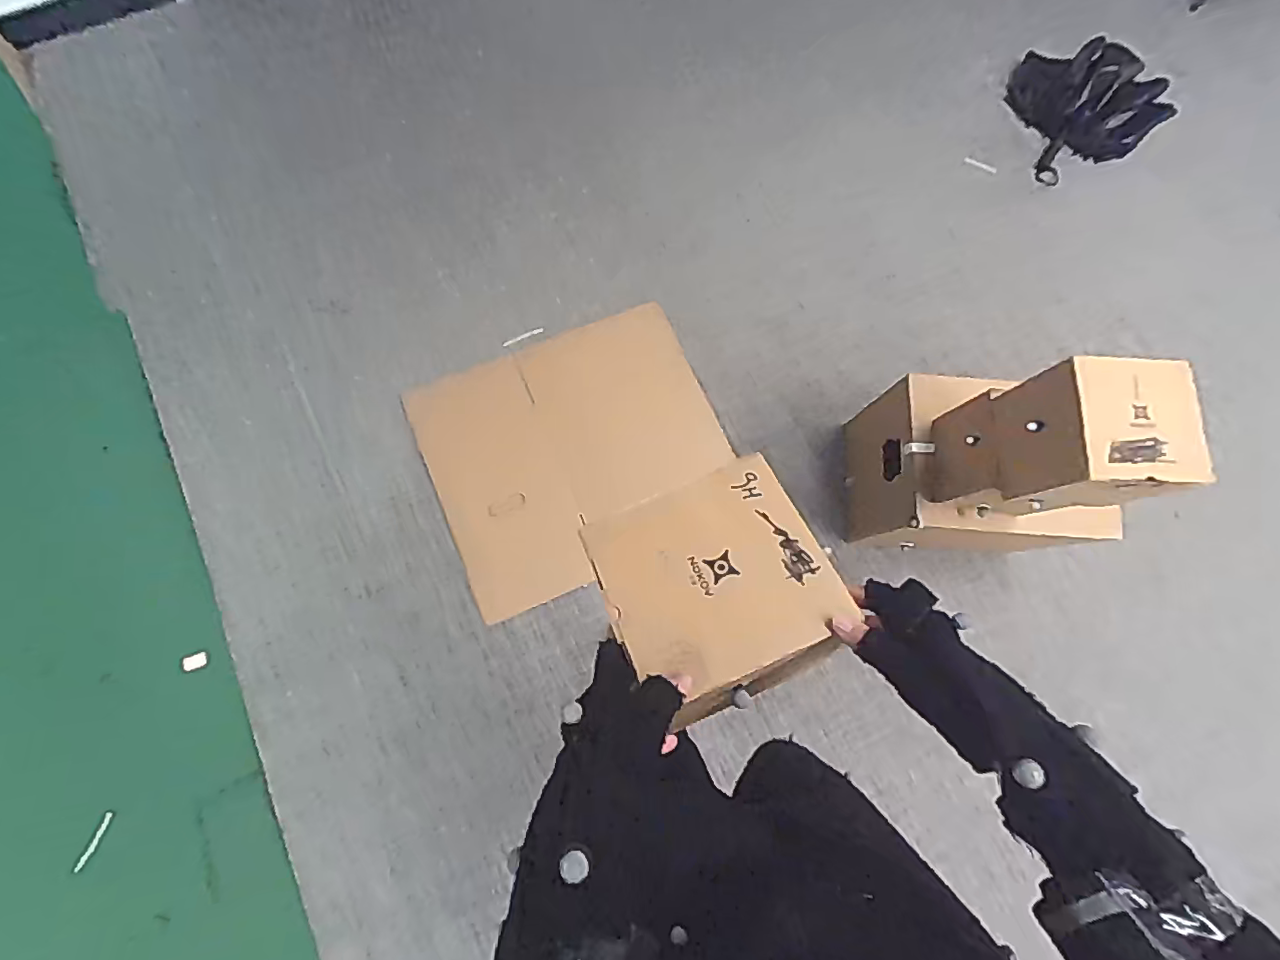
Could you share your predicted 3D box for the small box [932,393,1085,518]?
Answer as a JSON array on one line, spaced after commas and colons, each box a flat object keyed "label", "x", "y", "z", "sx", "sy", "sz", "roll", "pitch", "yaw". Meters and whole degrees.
[{"label": "small box", "x": 0.646, "y": -0.036, "z": 0.963, "sx": 0.168, "sy": 0.176, "sz": 0.179, "roll": 7, "pitch": 79, "yaw": 0}]

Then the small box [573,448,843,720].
[{"label": "small box", "x": 0.061, "y": 0.107, "z": 0.516, "sx": 0.179, "sy": 0.176, "sz": 0.168, "roll": -25, "pitch": 59, "yaw": -7}]

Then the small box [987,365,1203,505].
[{"label": "small box", "x": 0.653, "y": -0.057, "z": 0.800, "sx": 0.168, "sy": 0.176, "sz": 0.179, "roll": -1, "pitch": 79, "yaw": -1}]
